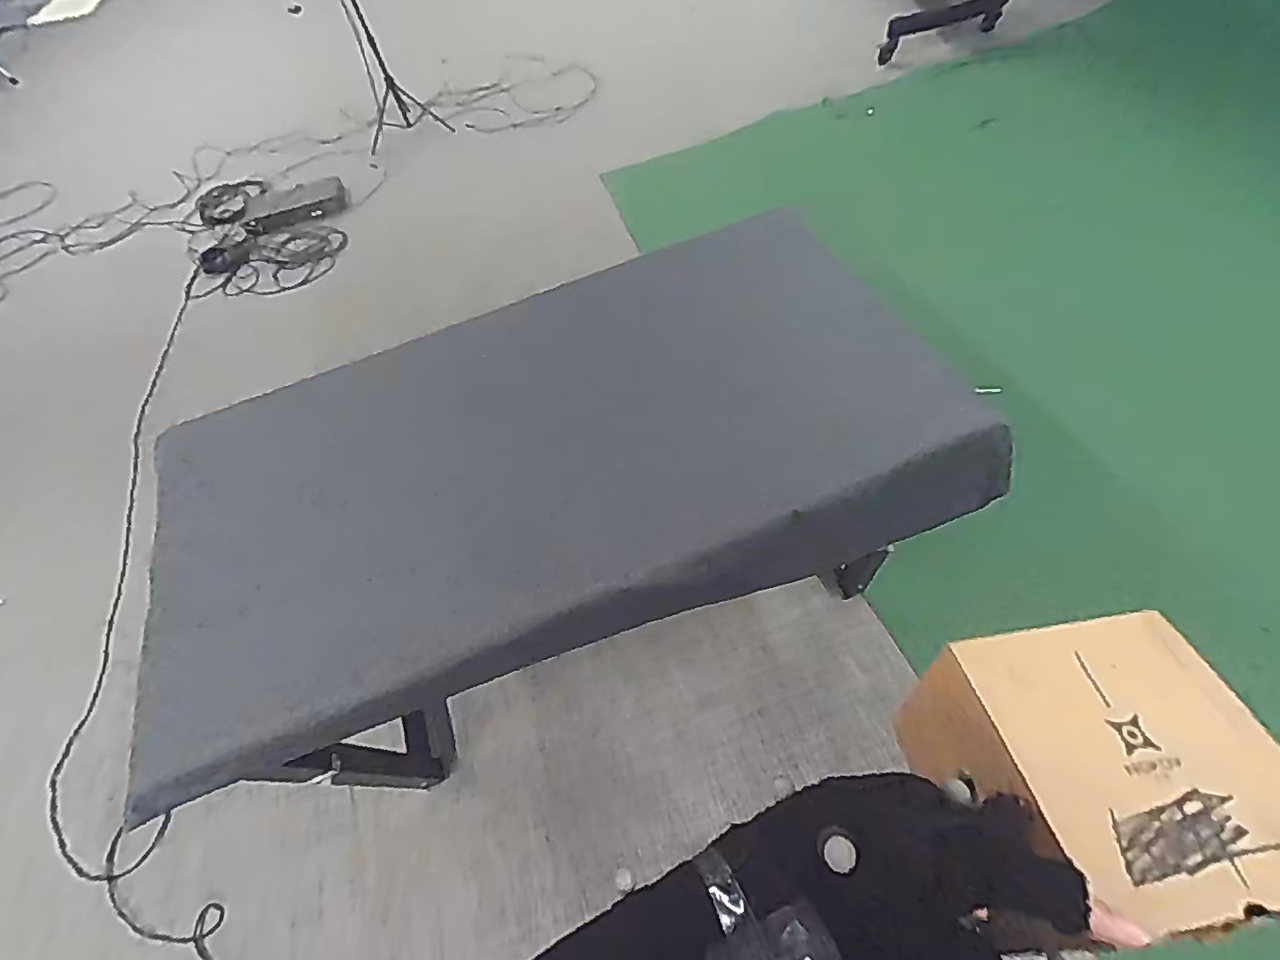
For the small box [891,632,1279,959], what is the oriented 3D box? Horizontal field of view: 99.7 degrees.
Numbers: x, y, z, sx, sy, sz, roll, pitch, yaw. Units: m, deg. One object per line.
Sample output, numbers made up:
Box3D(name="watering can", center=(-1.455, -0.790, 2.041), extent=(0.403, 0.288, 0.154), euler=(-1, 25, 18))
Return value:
Box3D(name="small box", center=(0.322, 0.244, 0.411), extent=(0.168, 0.176, 0.179), euler=(-8, 46, -2))
